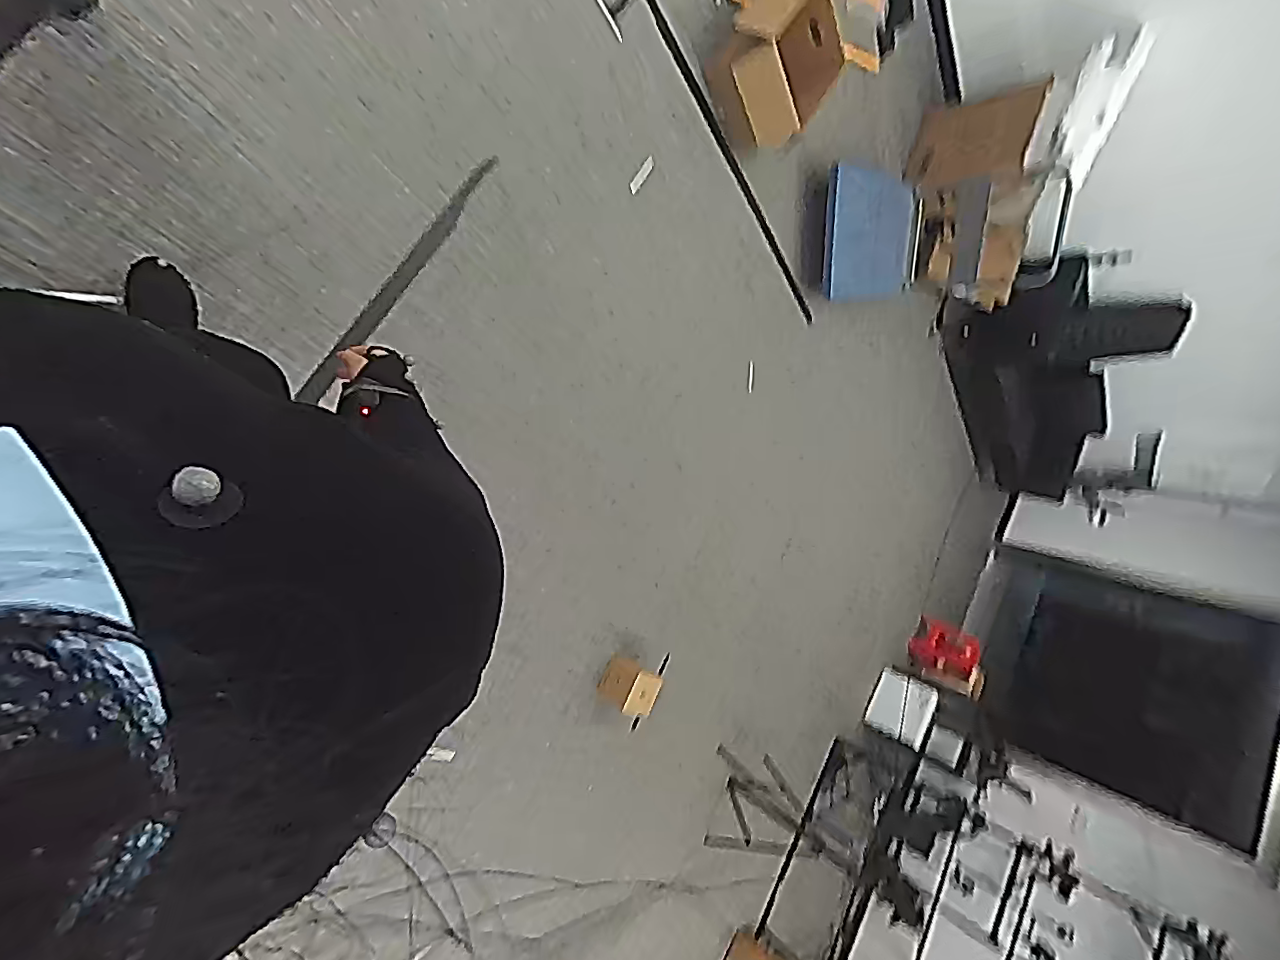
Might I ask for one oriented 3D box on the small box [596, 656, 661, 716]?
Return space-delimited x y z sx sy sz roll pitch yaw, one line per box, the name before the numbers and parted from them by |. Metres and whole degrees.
small box | -0.052 0.848 2.233 0.179 0.176 0.168 36 76 -44
